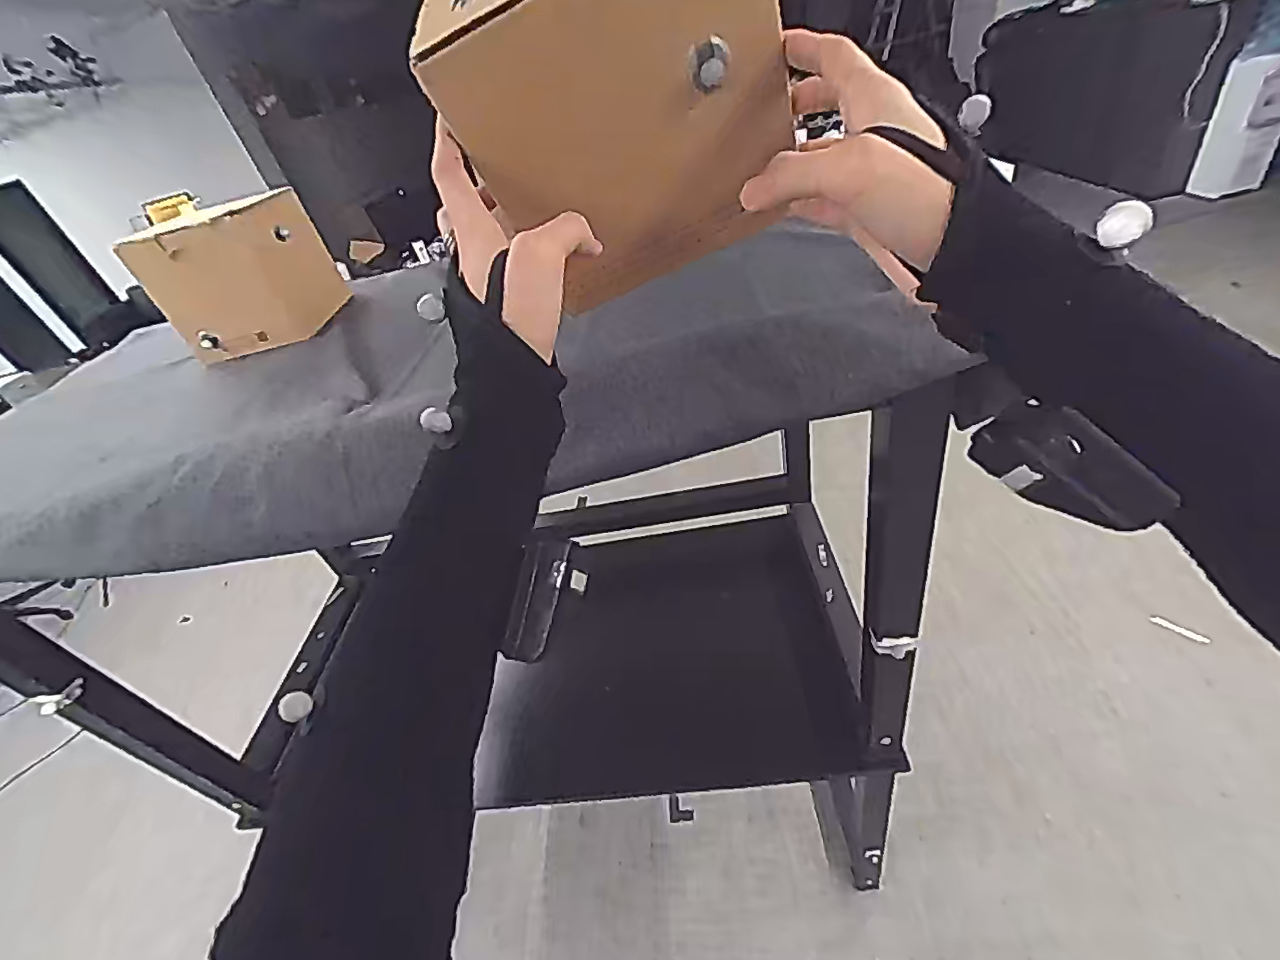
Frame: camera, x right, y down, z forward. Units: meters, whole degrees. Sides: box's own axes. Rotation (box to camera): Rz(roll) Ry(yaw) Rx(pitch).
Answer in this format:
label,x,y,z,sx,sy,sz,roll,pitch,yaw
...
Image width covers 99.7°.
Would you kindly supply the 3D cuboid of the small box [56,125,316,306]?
label,x,y,z,sx,sy,sz,roll,pitch,yaw
small box,-0.580,-0.349,0.727,0.168,0.176,0.179,-12,39,4
